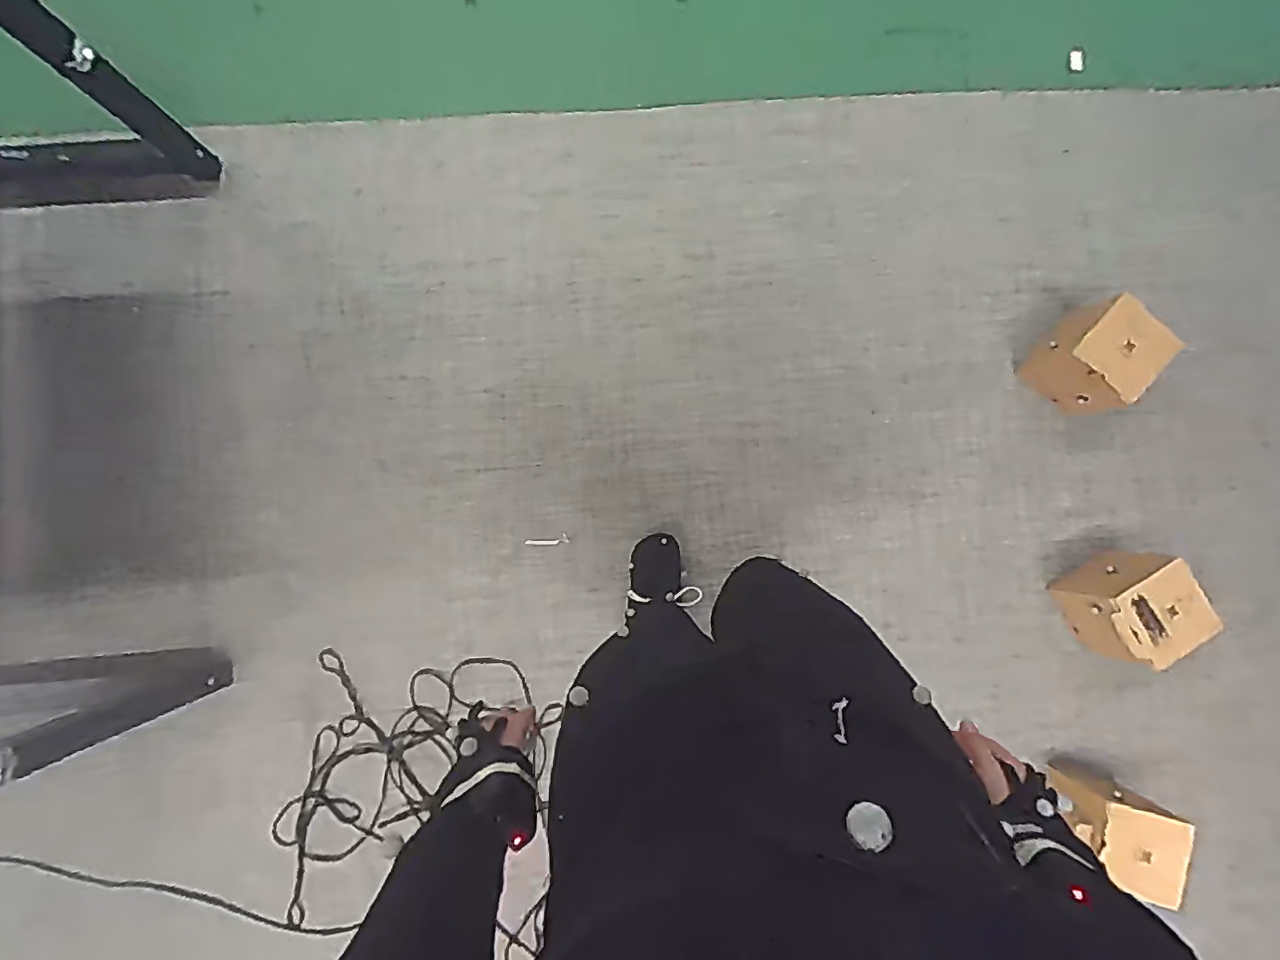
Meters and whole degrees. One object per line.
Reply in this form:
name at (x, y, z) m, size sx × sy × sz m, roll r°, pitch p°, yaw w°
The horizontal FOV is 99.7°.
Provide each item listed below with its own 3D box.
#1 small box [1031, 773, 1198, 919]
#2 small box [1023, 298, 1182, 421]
small box at (0.959, 0.735, 1.106) m, size 0.179 × 0.176 × 0.168 m, roll 16°, pitch 86°, yaw 0°
small box at (0.986, -0.251, 1.176) m, size 0.168 × 0.176 × 0.179 m, roll 43°, pitch 85°, yaw 0°
